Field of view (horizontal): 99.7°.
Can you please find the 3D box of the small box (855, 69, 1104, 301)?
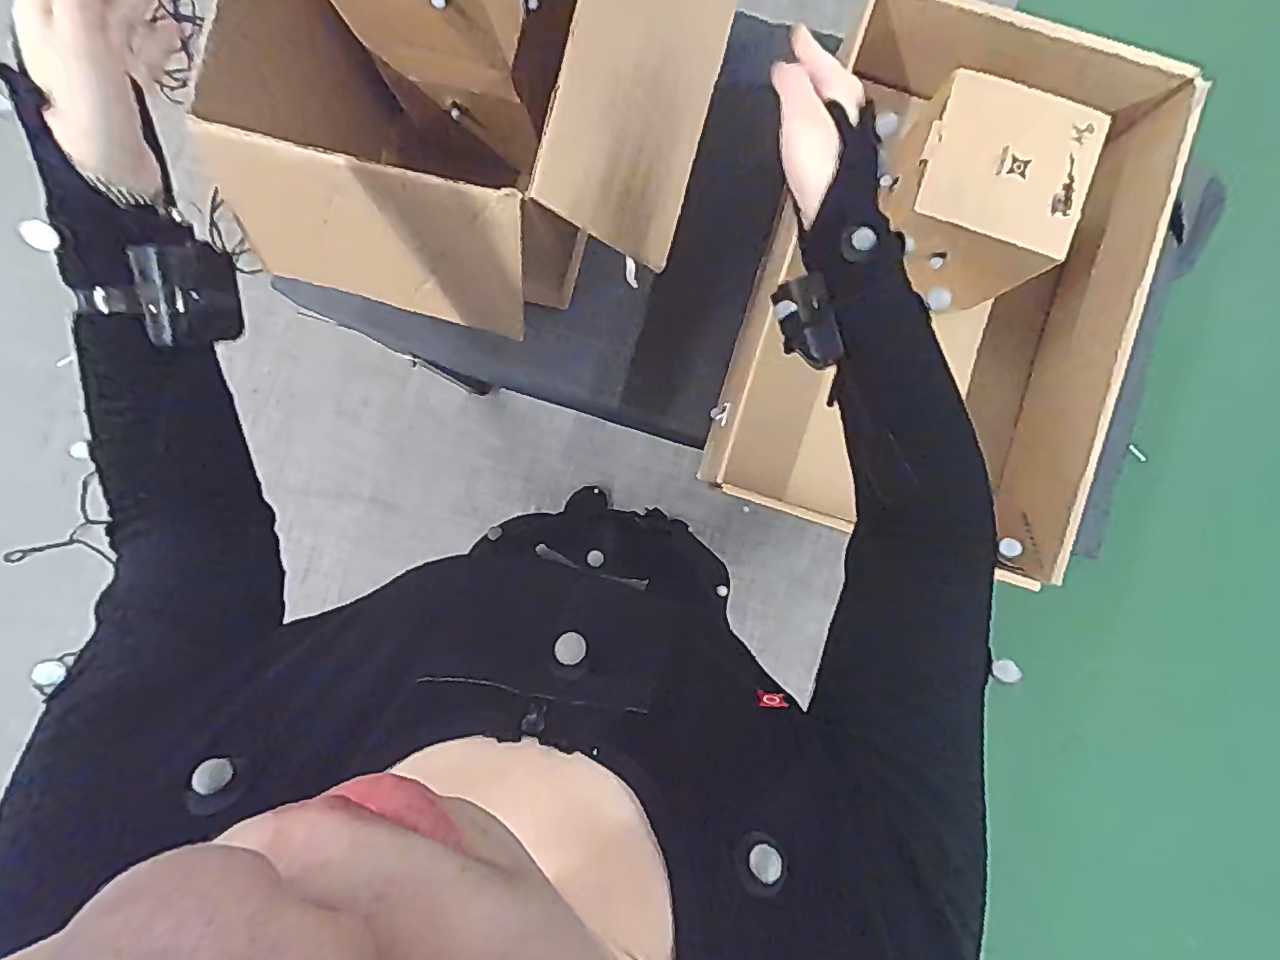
[{"bbox_3d":[0.392,-0.340,0.661,0.179,0.176,0.168,18,91,0],"label":"small box"}]
